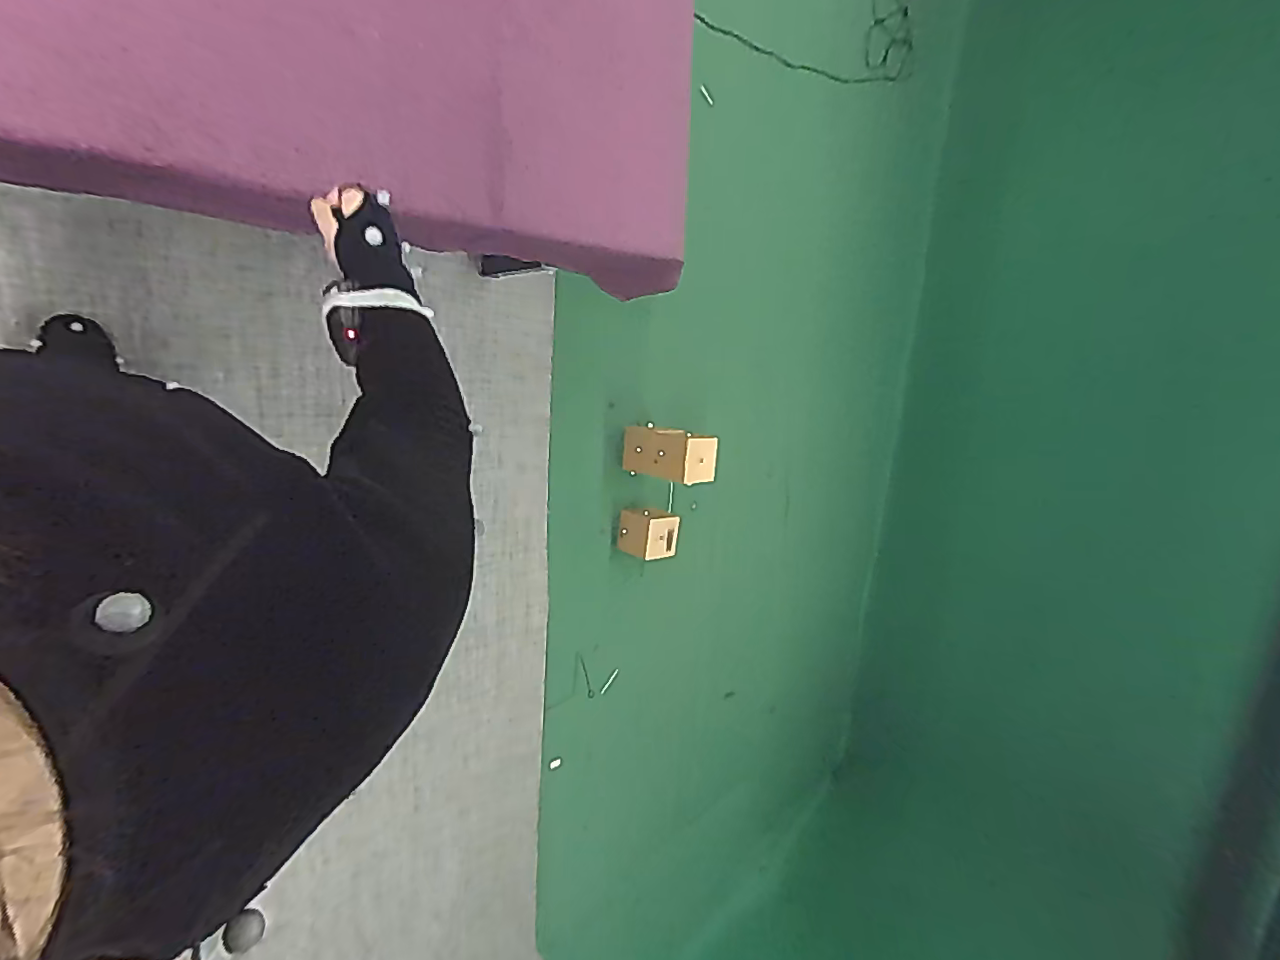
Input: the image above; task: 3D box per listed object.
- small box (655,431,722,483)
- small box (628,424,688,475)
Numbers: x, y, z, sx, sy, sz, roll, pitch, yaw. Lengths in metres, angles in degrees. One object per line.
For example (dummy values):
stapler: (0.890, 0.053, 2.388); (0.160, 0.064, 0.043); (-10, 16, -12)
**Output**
small box: (0.179, -0.091, 2.005); (0.179, 0.176, 0.168); (-6, 104, -44)
small box: (0.068, -0.122, 2.120); (0.168, 0.176, 0.179); (-6, 104, -44)
